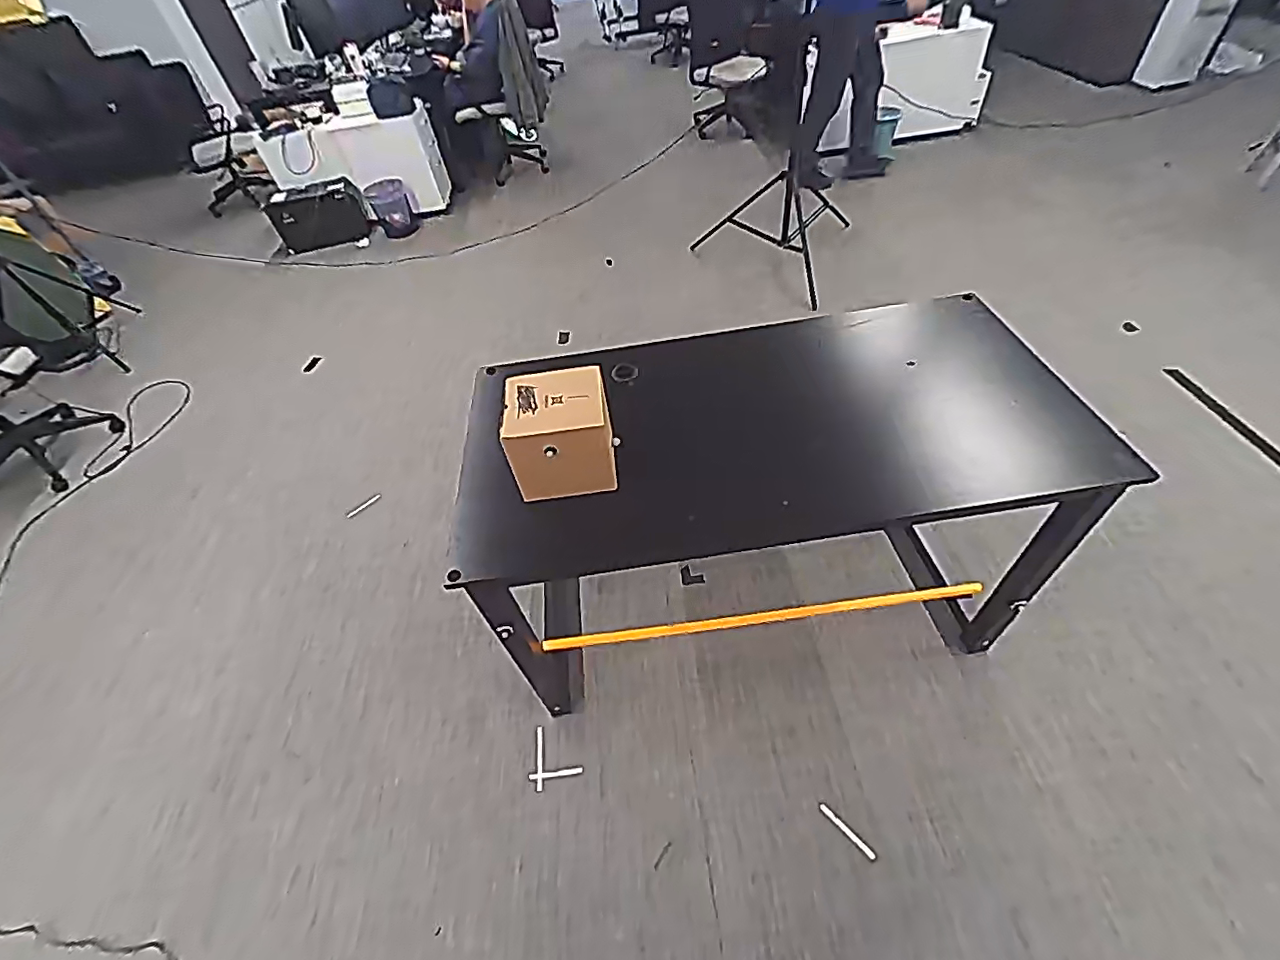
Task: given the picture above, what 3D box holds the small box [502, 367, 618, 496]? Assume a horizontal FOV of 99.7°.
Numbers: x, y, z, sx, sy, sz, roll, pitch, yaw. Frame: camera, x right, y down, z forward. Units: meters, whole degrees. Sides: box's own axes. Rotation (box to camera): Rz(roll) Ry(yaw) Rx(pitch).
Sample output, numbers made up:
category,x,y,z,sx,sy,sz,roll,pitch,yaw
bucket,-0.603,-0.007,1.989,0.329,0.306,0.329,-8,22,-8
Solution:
category,x,y,z,sx,sy,sz,roll,pitch,yaw
small box,-0.142,-0.085,1.007,0.179,0.176,0.168,-7,49,0
